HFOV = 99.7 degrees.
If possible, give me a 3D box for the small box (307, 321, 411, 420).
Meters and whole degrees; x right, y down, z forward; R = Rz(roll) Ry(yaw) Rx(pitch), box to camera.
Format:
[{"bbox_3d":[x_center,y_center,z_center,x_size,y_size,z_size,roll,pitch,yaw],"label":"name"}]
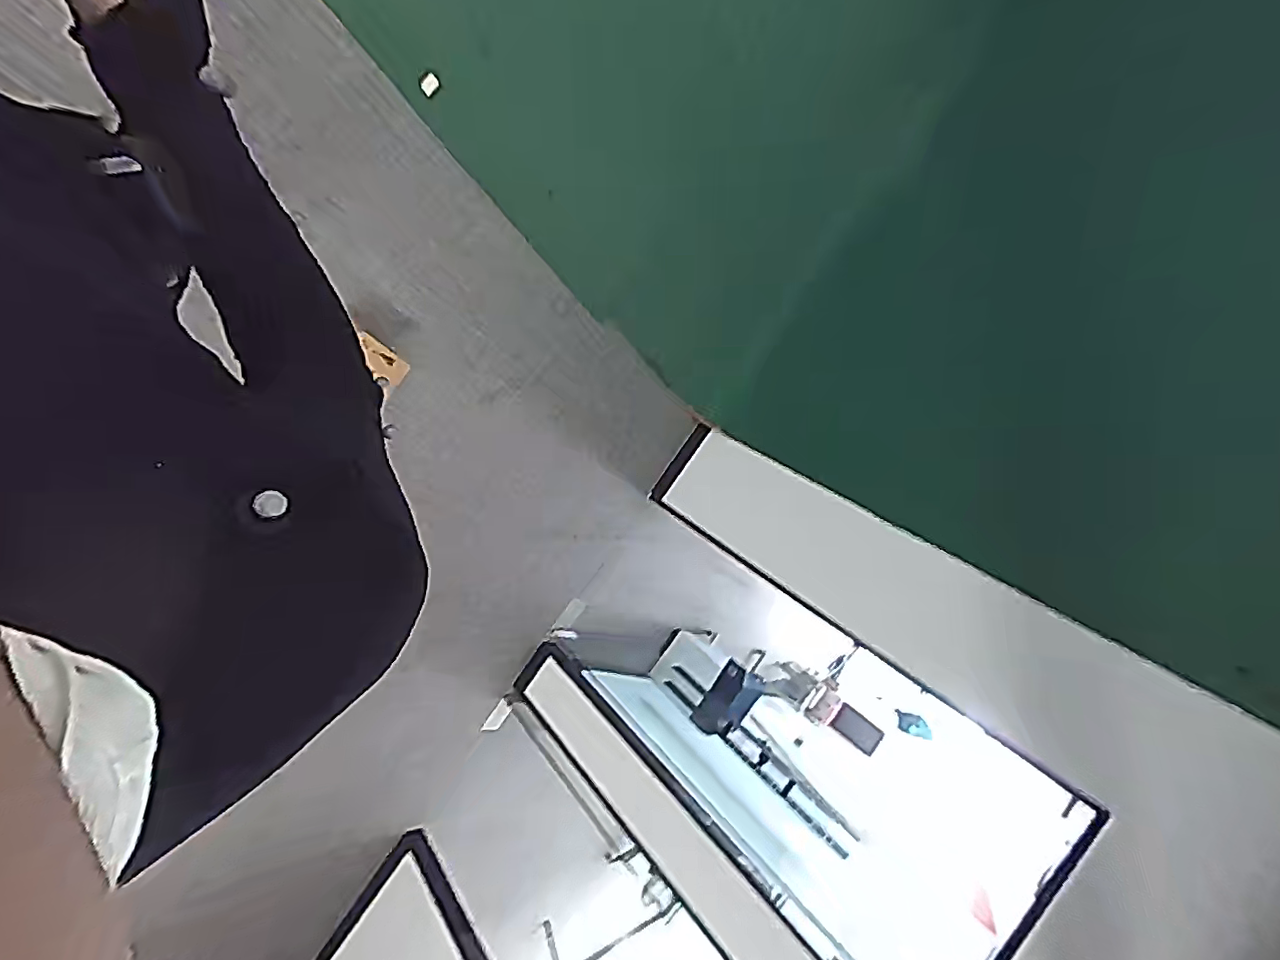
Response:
[{"bbox_3d":[-0.767,-0.298,1.467,0.179,0.176,0.168,-52,143,-4],"label":"small box"}]
